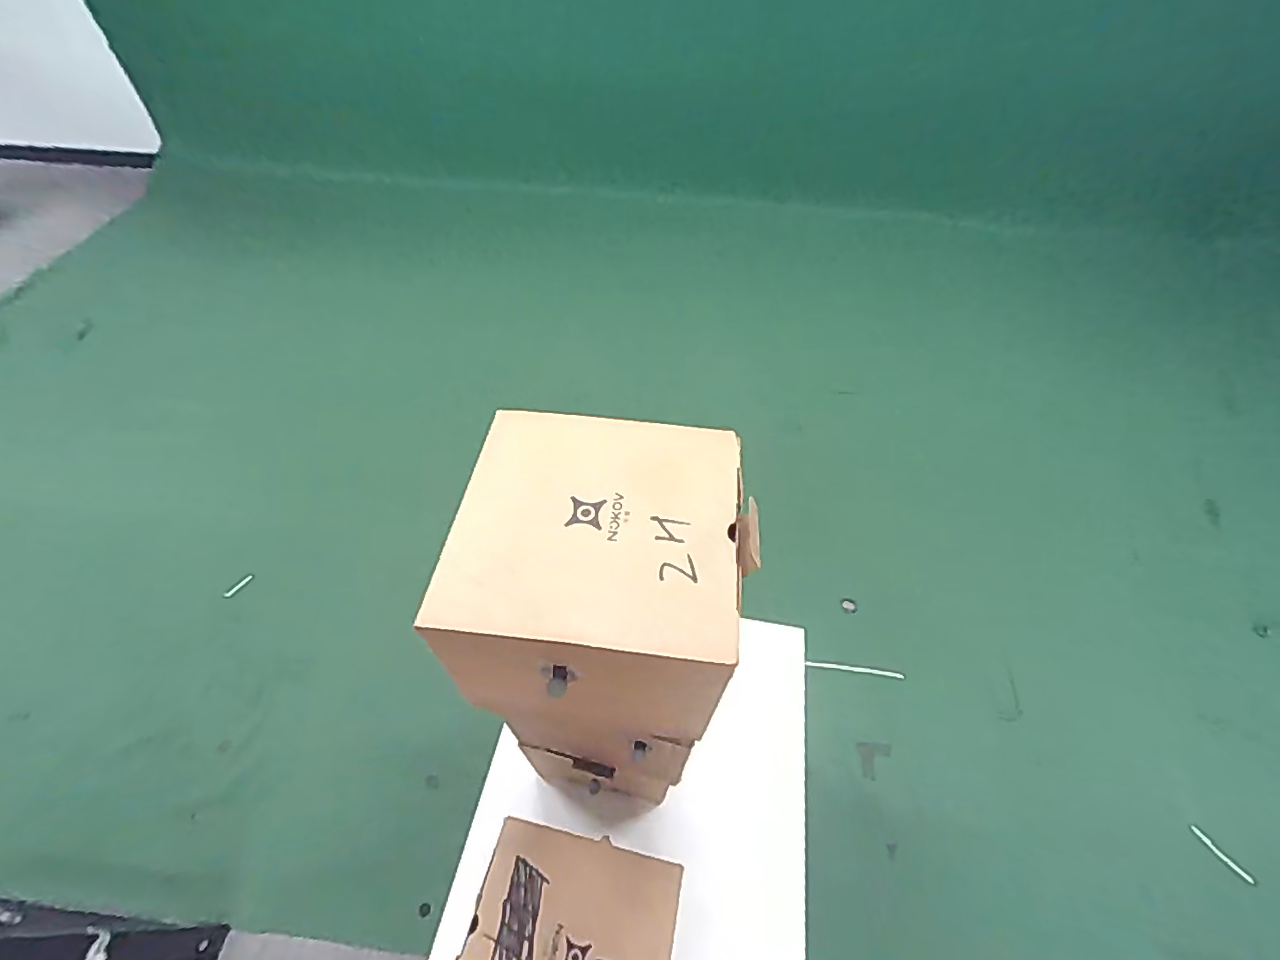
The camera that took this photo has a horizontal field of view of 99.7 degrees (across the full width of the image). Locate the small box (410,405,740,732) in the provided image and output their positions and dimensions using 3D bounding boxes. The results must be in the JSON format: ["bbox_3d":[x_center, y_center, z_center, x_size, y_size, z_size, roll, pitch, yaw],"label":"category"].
[{"bbox_3d":[-0.028,0.069,0.389,0.179,0.176,0.168,6,53,2],"label":"small box"}]

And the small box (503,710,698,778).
[{"bbox_3d":[-0.026,0.167,0.520,0.179,0.176,0.168,12,52,7],"label":"small box"}]

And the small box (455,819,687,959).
[{"bbox_3d":[-0.064,0.444,0.499,0.179,0.176,0.168,12,48,7],"label":"small box"}]
